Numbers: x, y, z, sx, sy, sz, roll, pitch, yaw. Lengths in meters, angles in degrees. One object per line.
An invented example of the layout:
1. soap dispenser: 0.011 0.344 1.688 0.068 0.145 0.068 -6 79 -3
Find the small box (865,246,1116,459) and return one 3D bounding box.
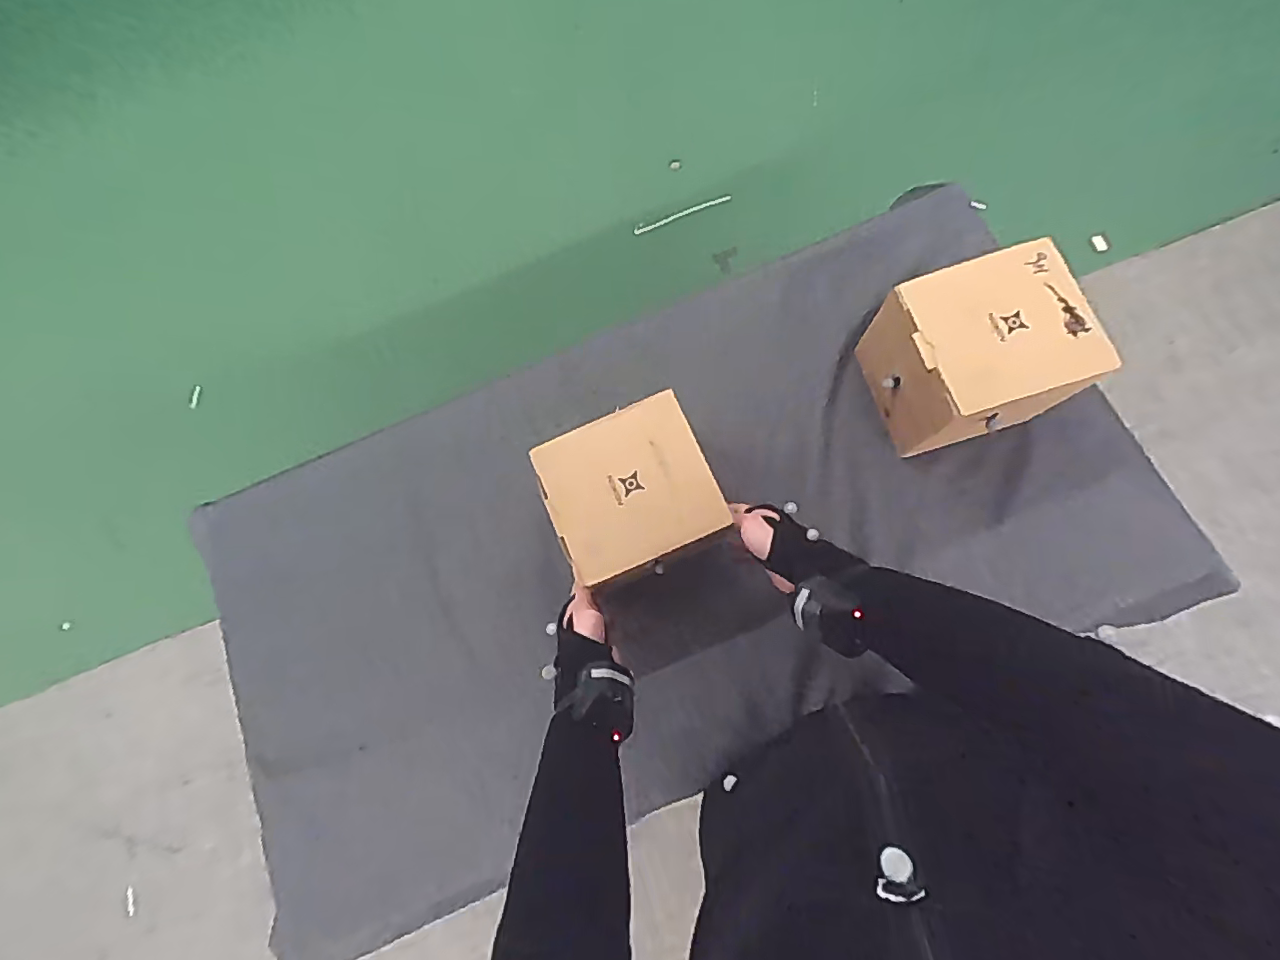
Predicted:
1. small box: 0.393 -0.139 0.653 0.179 0.176 0.168 -17 76 2

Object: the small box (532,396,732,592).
1. small box: -0.005 0.030 0.656 0.179 0.176 0.168 -24 77 -2
